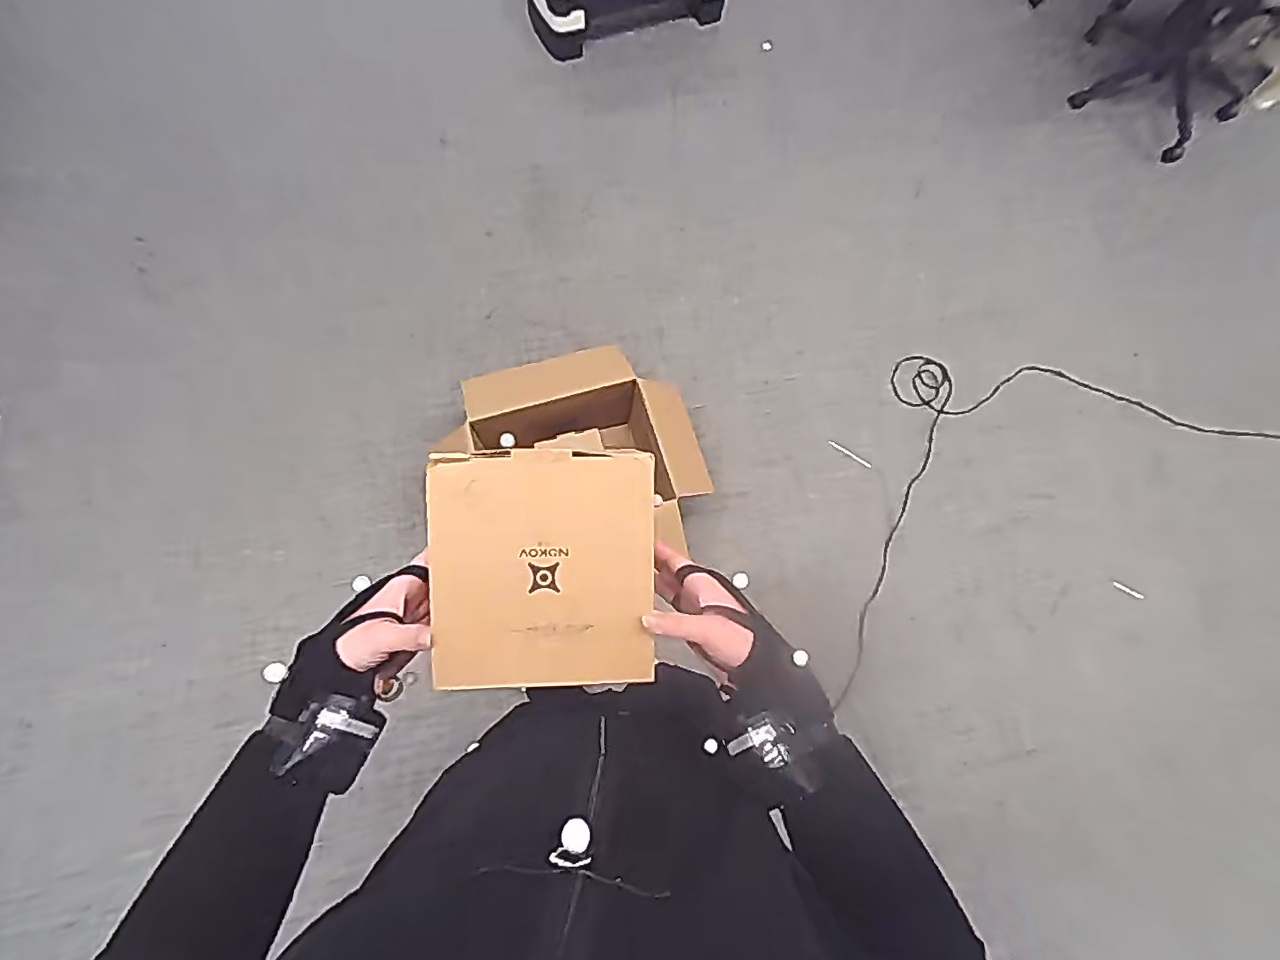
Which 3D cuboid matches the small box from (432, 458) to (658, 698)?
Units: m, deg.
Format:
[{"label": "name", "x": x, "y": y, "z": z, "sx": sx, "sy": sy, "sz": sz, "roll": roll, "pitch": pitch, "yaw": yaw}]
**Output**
[{"label": "small box", "x": -0.076, "y": 0.068, "z": 0.476, "sx": 0.168, "sy": 0.176, "sz": 0.179, "roll": 0, "pitch": 94, "yaw": -4}]
